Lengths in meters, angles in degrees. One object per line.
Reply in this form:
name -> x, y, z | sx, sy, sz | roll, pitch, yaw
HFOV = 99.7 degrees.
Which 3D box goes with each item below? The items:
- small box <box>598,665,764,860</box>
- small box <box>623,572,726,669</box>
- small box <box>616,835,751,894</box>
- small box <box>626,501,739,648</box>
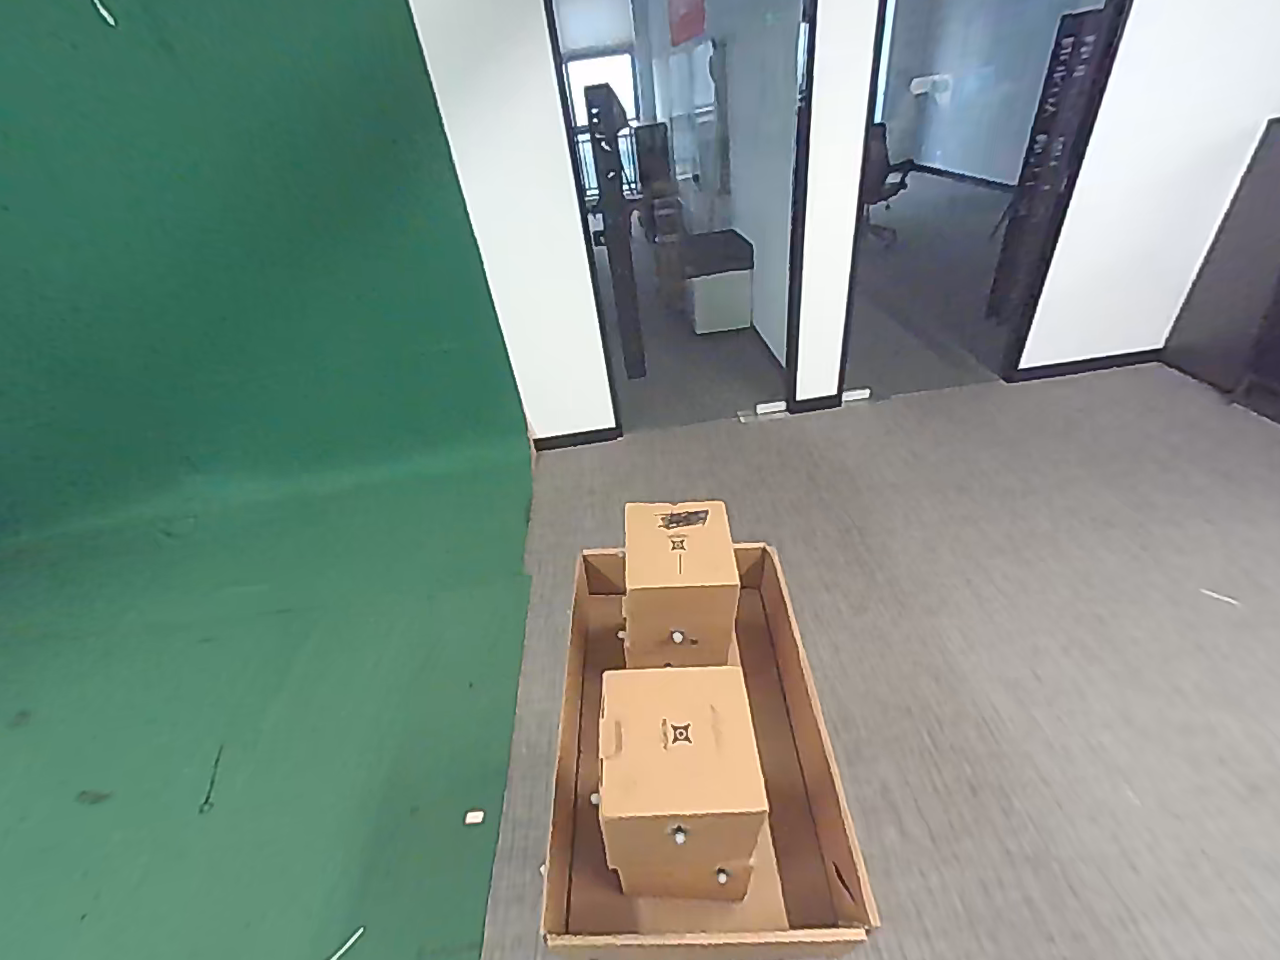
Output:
small box -> 0.043, 0.349, 0.667 | 0.179, 0.176, 0.168 | -2, 41, -1
small box -> 0.063, 0.274, 0.998 | 0.179, 0.176, 0.168 | -2, 42, 1
small box -> 0.057, 0.470, 0.775 | 0.179, 0.176, 0.168 | 1, 40, 3
small box -> 0.061, 0.154, 0.886 | 0.168, 0.176, 0.179 | -2, 42, 0
